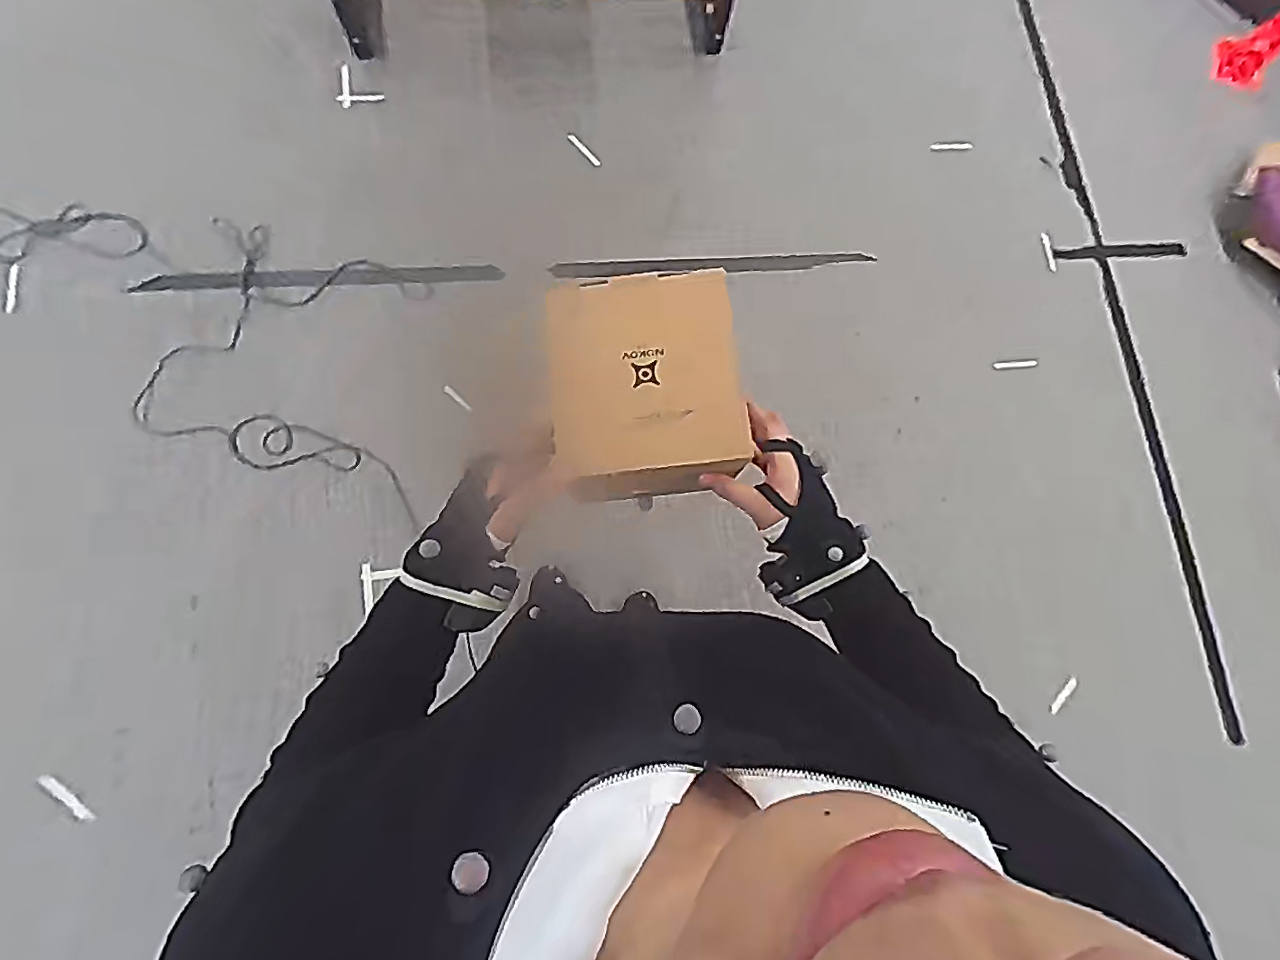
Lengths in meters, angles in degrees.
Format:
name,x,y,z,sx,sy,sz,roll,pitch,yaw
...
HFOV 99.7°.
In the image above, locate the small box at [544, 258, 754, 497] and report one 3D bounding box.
name,x,y,z,sx,sy,sz,roll,pitch,yaw
small box,0.006,-0.089,0.541,0.168,0.176,0.179,-8,80,0
